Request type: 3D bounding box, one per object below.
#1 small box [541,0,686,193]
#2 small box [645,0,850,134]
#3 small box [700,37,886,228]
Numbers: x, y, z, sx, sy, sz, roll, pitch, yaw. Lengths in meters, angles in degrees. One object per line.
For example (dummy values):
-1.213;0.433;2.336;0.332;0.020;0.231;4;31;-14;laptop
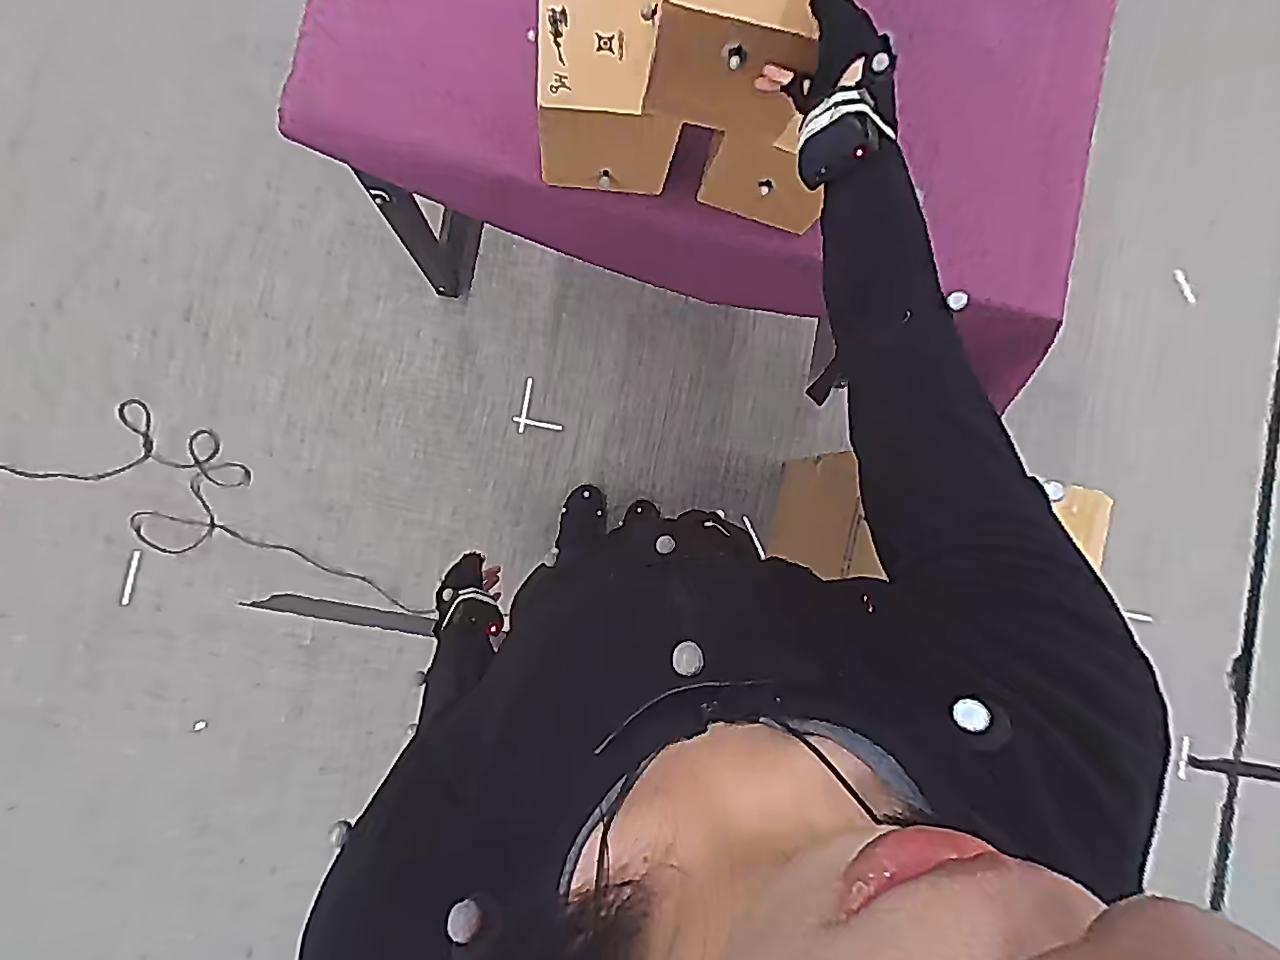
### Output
-0.041;-0.512;0.722;0.179;0.176;0.168;1;88;-8;small box
0.107;-0.505;0.572;0.179;0.176;0.168;7;93;-8;small box
0.200;-0.480;0.750;0.179;0.176;0.168;15;87;-5;small box
